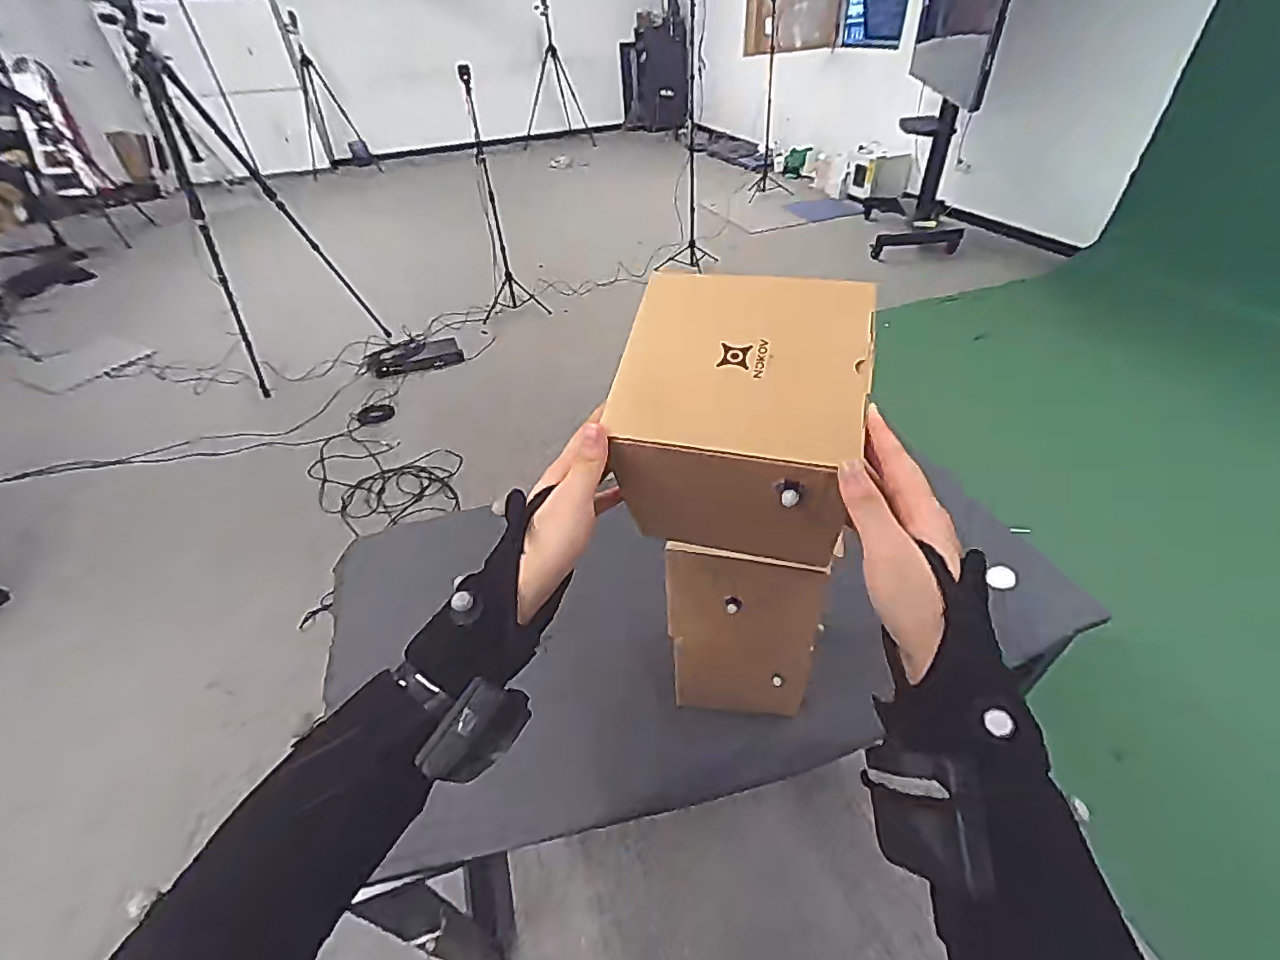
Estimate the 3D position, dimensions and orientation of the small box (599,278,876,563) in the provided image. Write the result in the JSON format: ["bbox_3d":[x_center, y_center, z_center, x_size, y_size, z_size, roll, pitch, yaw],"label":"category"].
[{"bbox_3d":[0.085,-0.044,0.454,0.179,0.176,0.168,8,61,15],"label":"small box"}]

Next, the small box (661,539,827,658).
[{"bbox_3d":[0.132,0.100,0.678,0.179,0.176,0.168,6,41,14],"label":"small box"}]
